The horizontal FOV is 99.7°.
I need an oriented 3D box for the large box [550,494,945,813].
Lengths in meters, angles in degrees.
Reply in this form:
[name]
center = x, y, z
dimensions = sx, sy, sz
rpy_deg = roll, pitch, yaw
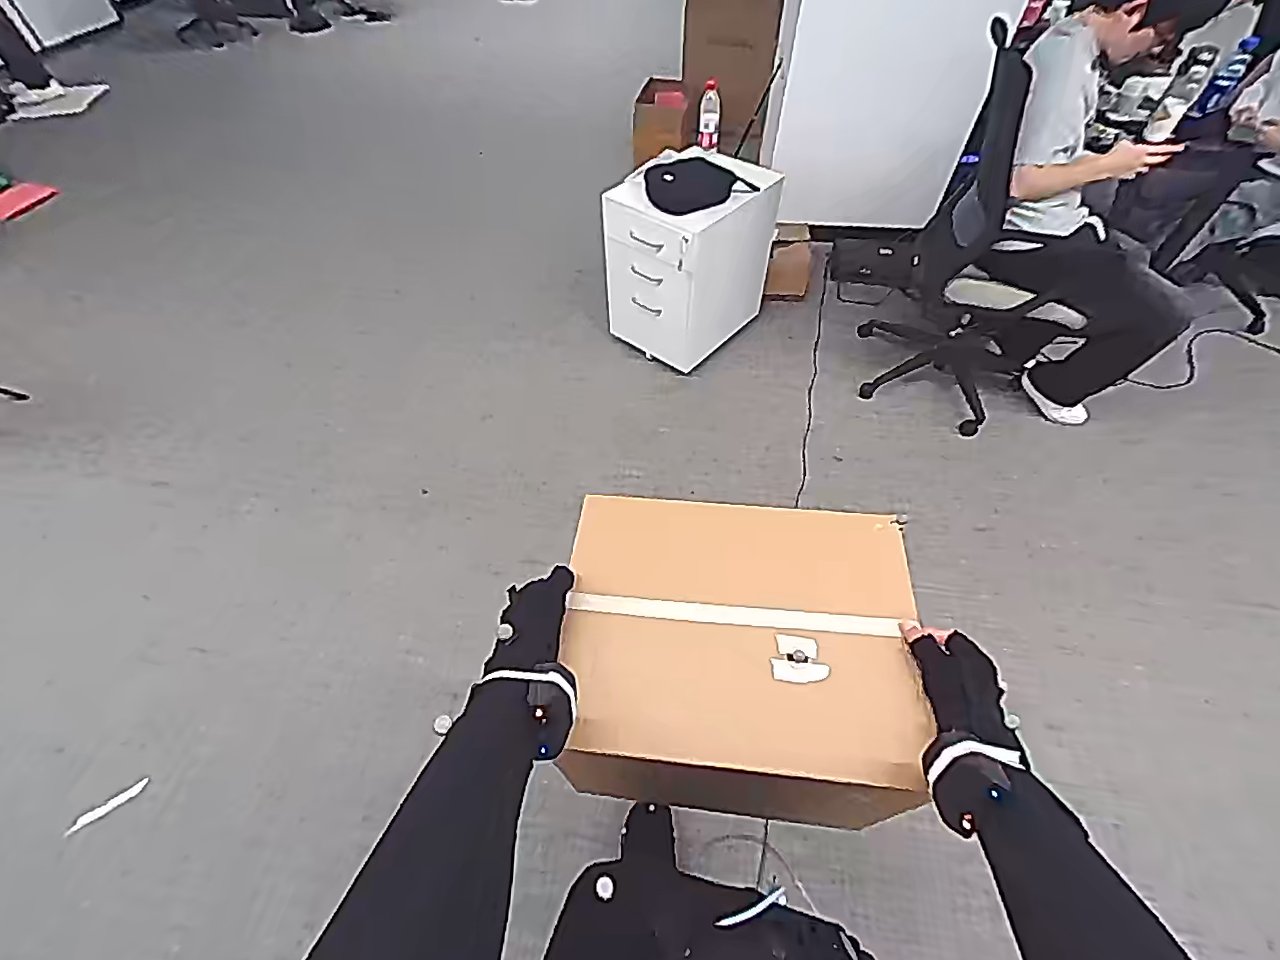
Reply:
[large box]
center = 0.122, 0.242, 0.748
dimensions = 0.408, 0.320, 0.320
rpy_deg = 4, 54, 7
